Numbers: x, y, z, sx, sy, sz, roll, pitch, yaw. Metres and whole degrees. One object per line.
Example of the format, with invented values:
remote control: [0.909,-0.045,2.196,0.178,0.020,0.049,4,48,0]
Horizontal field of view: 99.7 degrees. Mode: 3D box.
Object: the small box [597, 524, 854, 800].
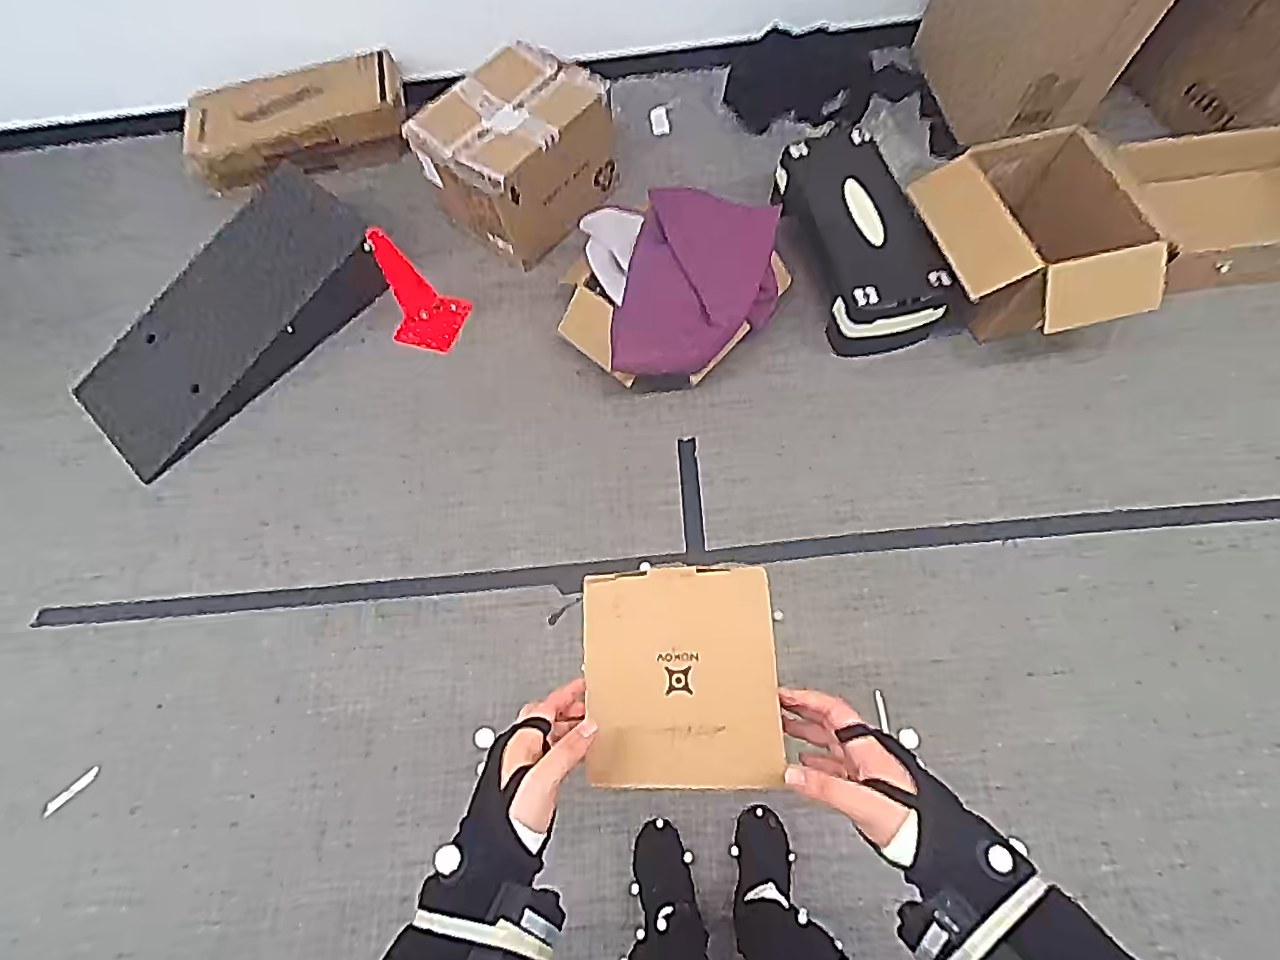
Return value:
small box: [0.065,0.138,0.445,0.168,0.176,0.179,-5,78,10]
